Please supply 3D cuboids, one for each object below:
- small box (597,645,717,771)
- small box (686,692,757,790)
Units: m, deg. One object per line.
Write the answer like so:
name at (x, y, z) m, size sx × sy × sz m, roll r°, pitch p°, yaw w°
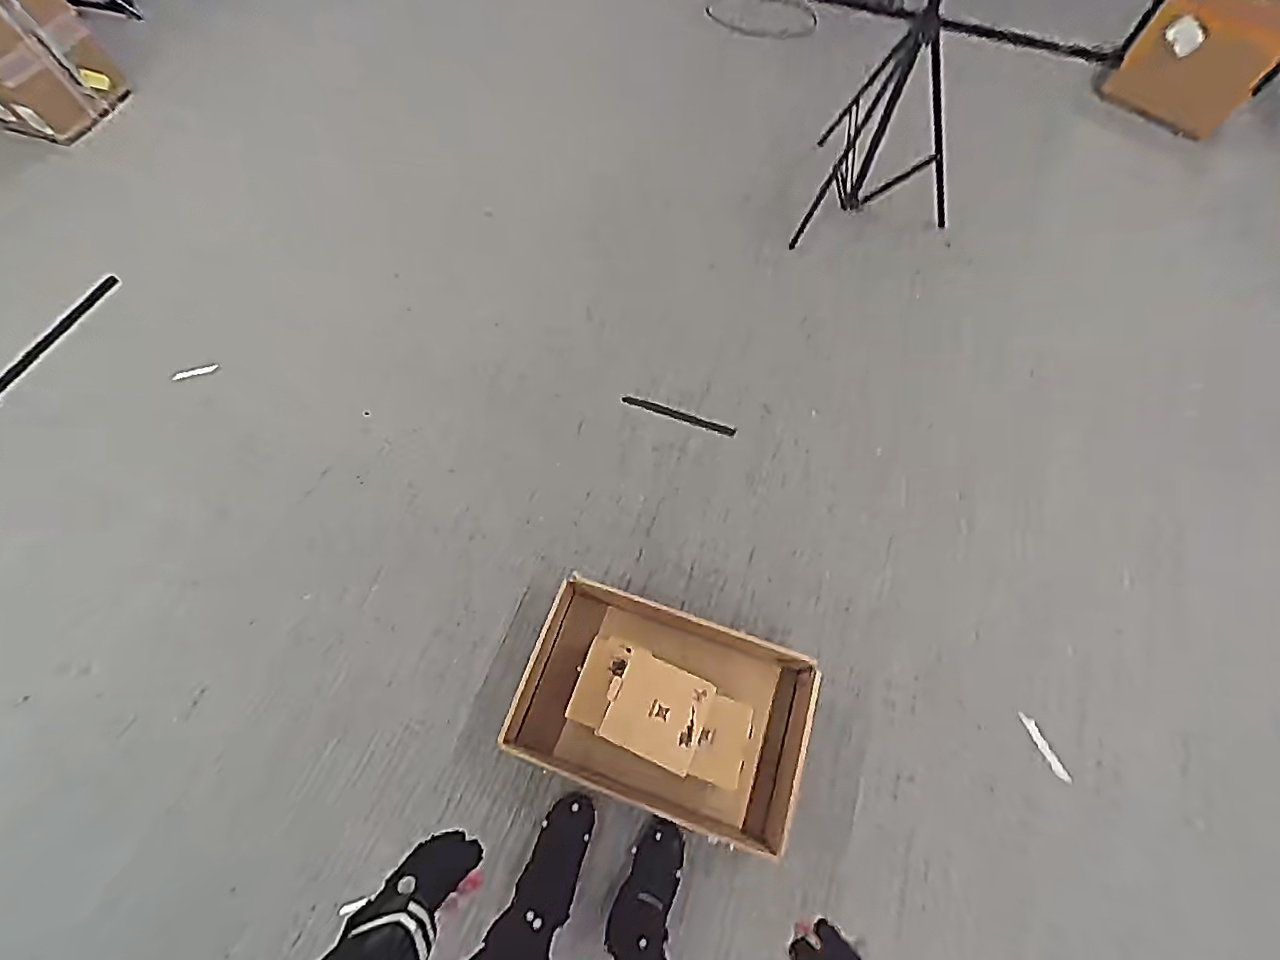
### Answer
small box at (0.032, 0.445, 1.058) m, size 0.179 × 0.176 × 0.168 m, roll 22°, pitch 68°, yaw 9°
small box at (0.141, 0.554, 1.190) m, size 0.179 × 0.176 × 0.168 m, roll 18°, pitch 67°, yaw 10°
